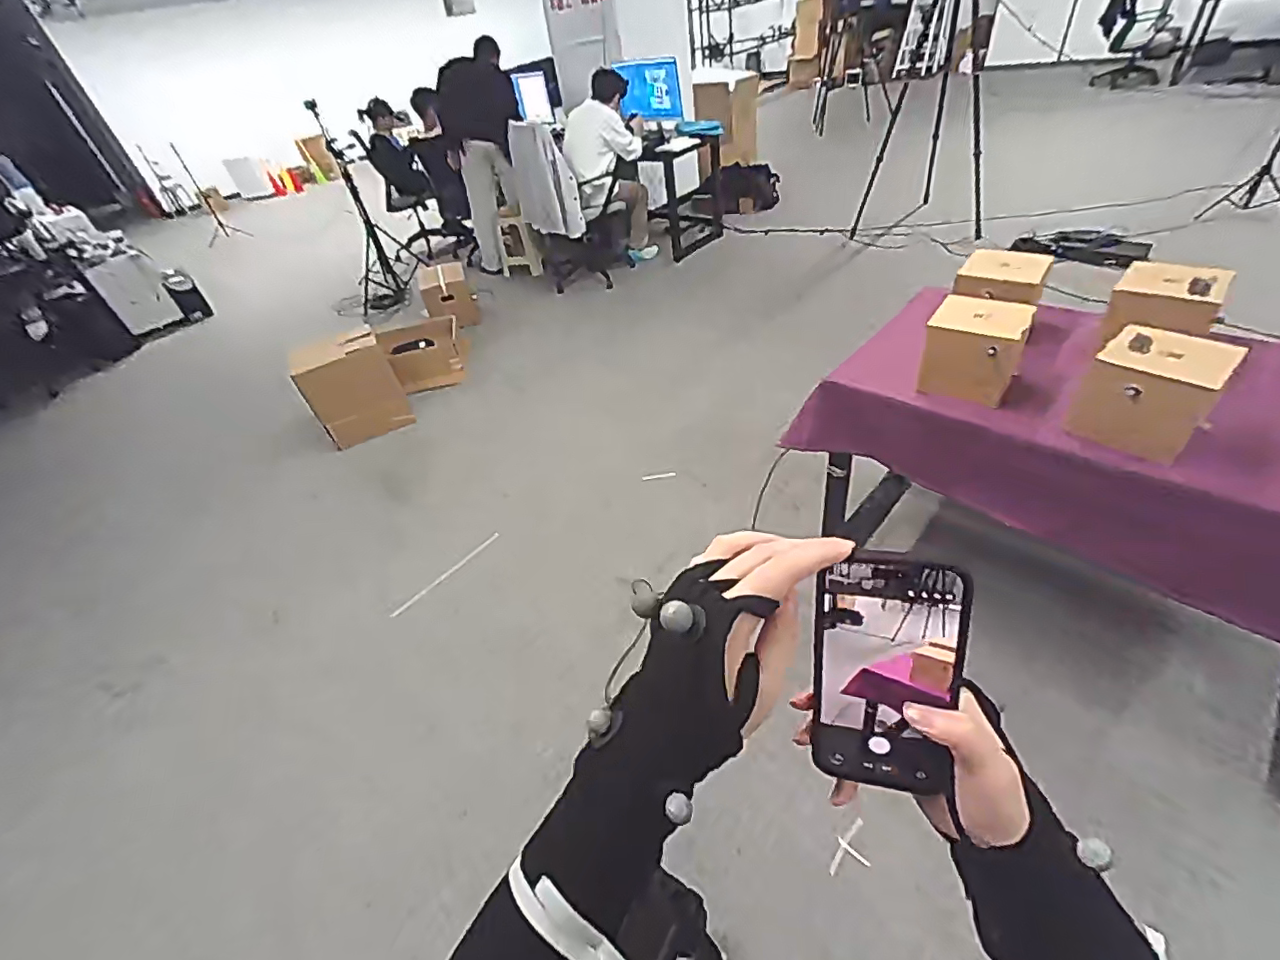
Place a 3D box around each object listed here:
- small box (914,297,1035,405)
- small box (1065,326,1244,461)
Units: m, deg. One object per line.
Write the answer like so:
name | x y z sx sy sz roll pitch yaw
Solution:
small box | 0.743 -0.289 1.215 0.179 0.176 0.168 23 51 32
small box | 0.955 -0.163 1.022 0.168 0.176 0.179 -34 47 -24
